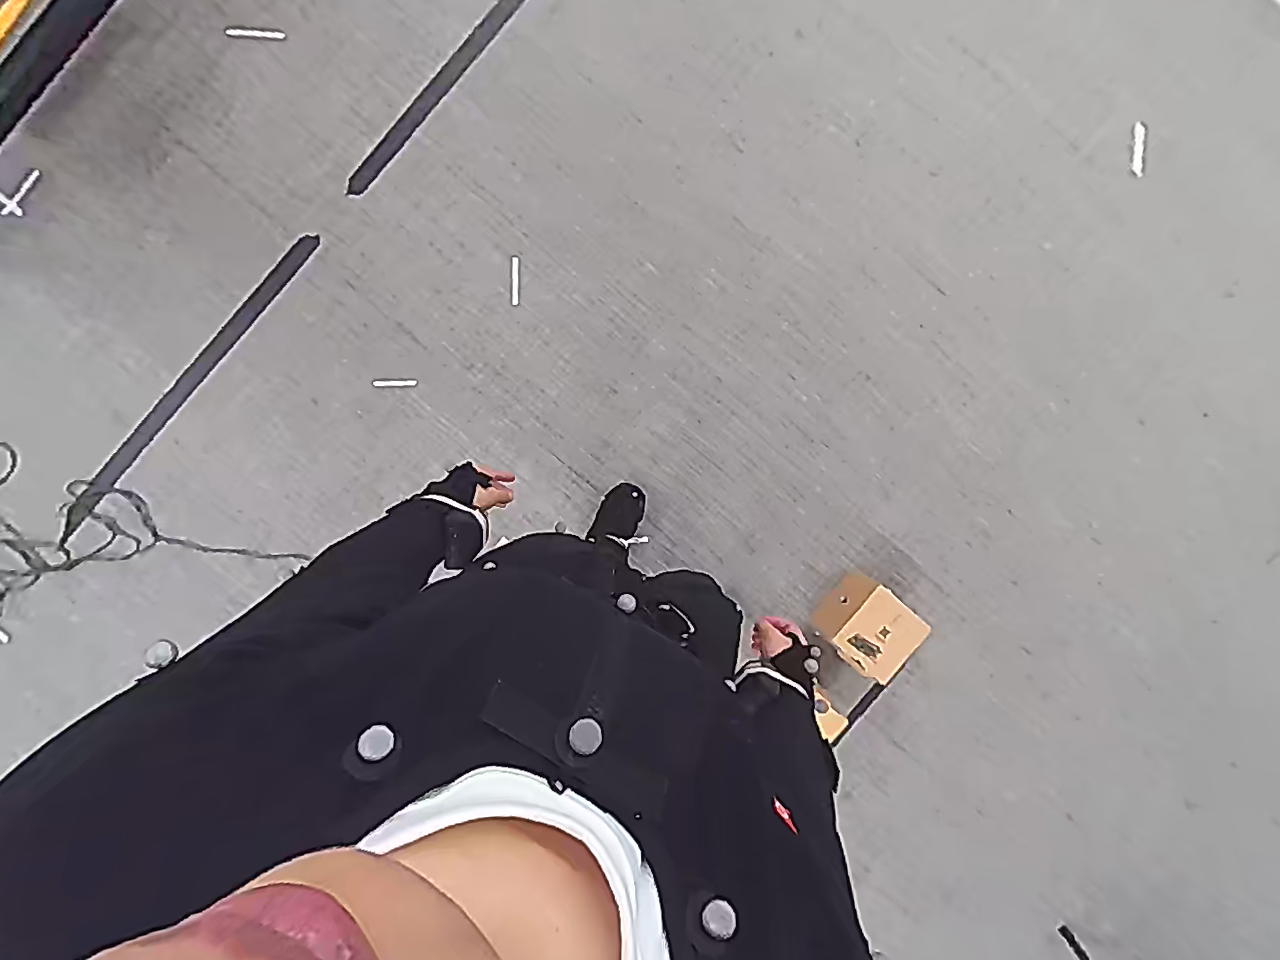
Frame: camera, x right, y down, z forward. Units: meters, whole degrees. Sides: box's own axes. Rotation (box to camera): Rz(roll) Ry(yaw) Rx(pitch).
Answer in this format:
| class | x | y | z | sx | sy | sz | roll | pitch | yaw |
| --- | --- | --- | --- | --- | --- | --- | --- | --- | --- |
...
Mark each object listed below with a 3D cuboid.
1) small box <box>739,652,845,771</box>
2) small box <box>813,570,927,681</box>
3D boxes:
| class | x | y | z | sx | sy | sz | roll | pitch | yaw |
| --- | --- | --- | --- | --- | --- | --- | --- | --- | --- |
| small box | 0.362 | 0.562 | 1.336 | 0.168 | 0.176 | 0.179 | 42 | 91 | -2 |
| small box | 0.549 | 0.348 | 1.326 | 0.168 | 0.176 | 0.179 | 41 | 90 | -2 |
